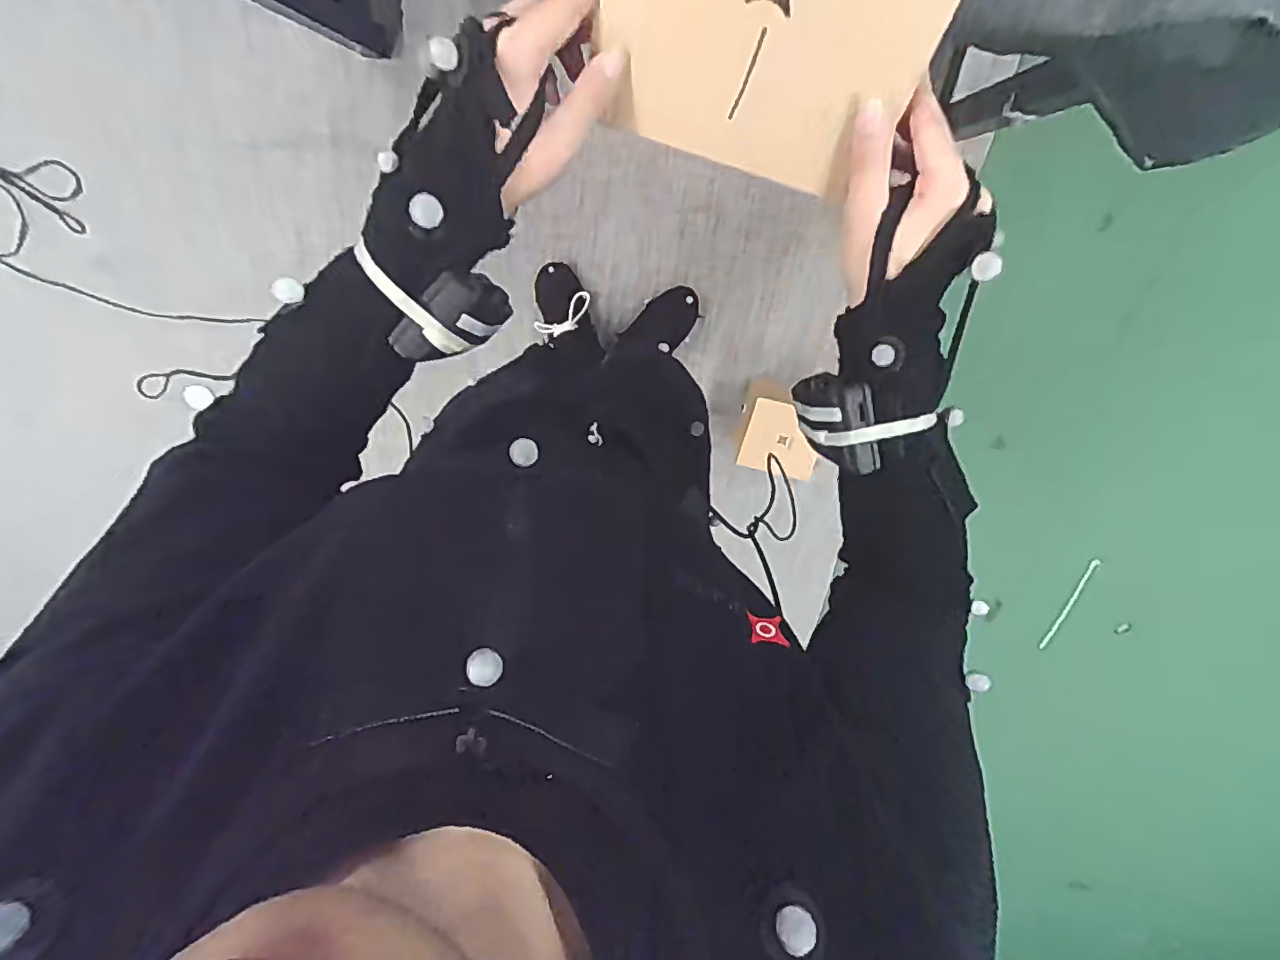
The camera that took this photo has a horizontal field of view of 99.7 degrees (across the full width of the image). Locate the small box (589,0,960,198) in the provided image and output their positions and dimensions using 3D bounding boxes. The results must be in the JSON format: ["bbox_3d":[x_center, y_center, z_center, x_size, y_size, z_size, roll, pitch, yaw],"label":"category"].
[{"bbox_3d":[0.080,-0.295,0.305,0.168,0.176,0.179,16,133,-3],"label":"small box"}]

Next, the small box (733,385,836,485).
[{"bbox_3d":[0.326,-0.111,1.260,0.179,0.176,0.168,14,115,0],"label":"small box"}]
